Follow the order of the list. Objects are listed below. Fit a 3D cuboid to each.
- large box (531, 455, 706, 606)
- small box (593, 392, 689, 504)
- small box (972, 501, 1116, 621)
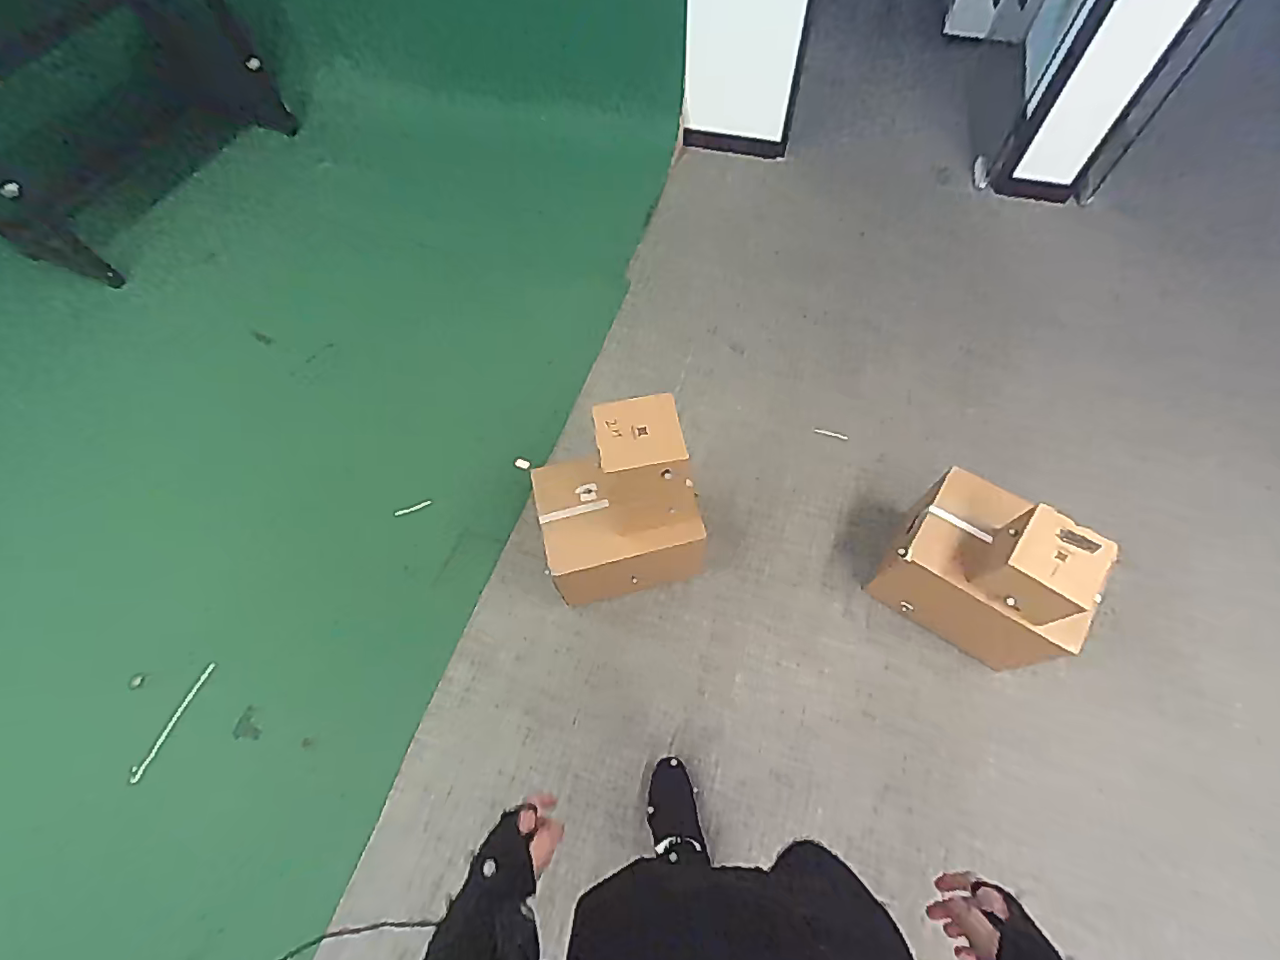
[{"bbox_3d":[-0.055,0.126,1.533,0.408,0.320,0.320,-15,62,-4],"label":"large box"},{"bbox_3d":[0.000,-0.065,1.167,0.179,0.176,0.168,-10,63,-2],"label":"small box"},{"bbox_3d":[0.876,0.183,1.189,0.168,0.176,0.179,35,72,18],"label":"small box"}]
